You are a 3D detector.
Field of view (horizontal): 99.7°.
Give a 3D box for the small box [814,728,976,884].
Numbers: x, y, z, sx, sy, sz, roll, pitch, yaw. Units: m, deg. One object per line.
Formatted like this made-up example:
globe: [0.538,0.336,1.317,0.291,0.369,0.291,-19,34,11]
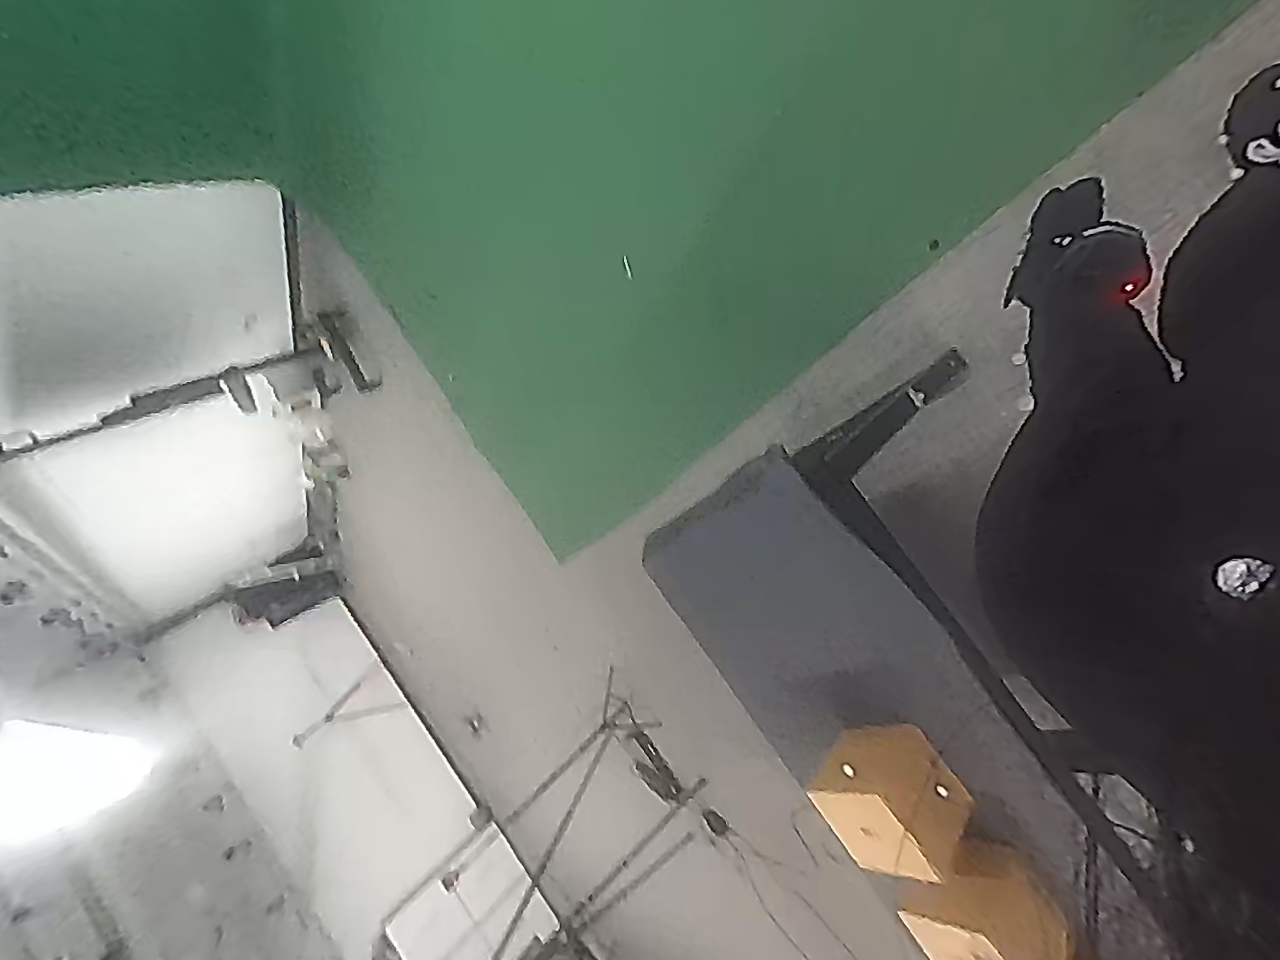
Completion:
small box: [0.461,0.576,0.976,0.168,0.176,0.179,53,141,6]
